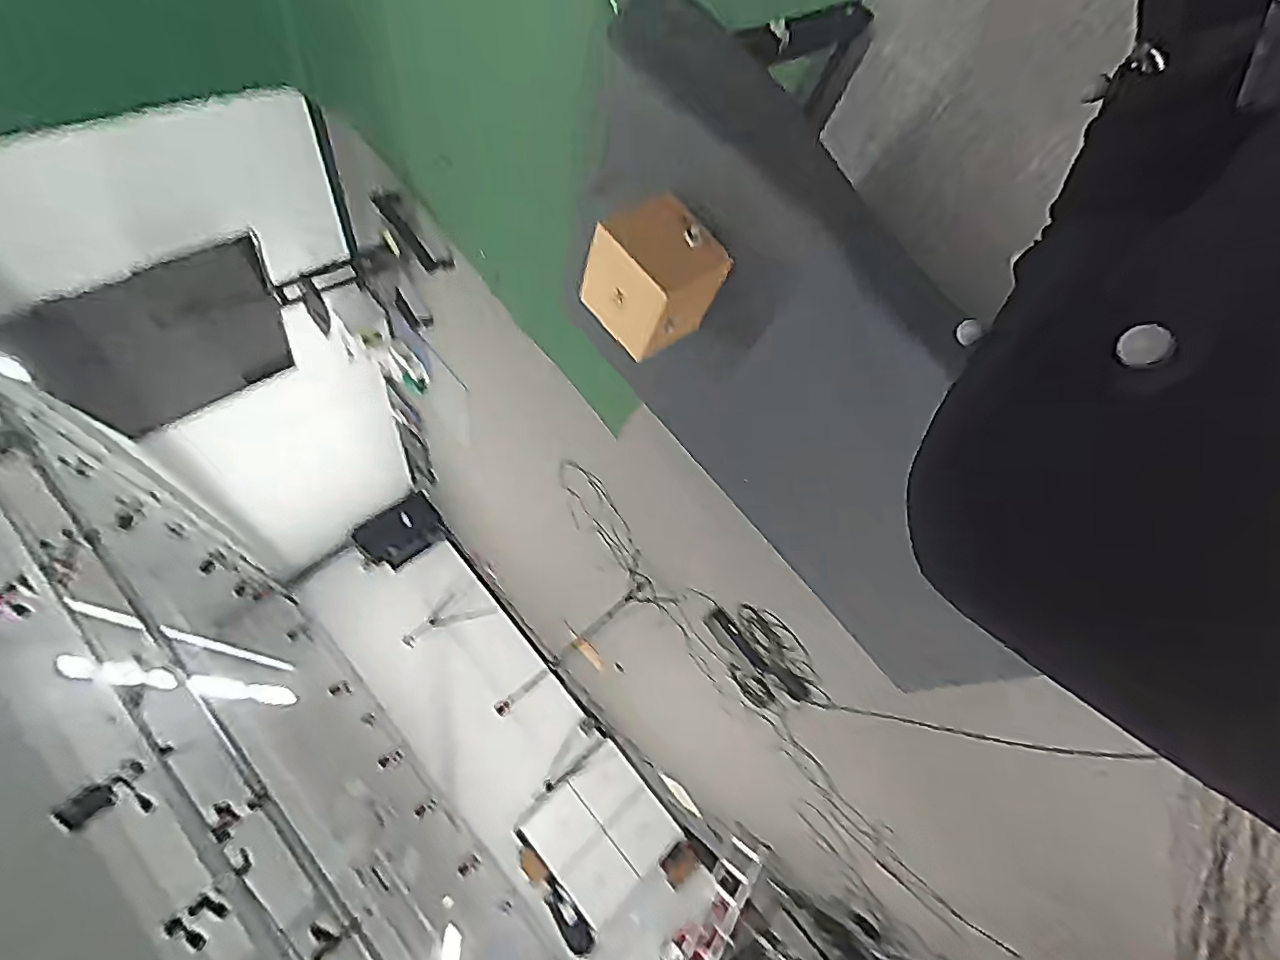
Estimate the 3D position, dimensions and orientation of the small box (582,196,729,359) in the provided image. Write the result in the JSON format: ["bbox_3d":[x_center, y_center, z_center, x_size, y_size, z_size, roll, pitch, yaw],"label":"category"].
[{"bbox_3d":[0.026,-0.351,0.942,0.168,0.176,0.179,47,152,7],"label":"small box"}]
